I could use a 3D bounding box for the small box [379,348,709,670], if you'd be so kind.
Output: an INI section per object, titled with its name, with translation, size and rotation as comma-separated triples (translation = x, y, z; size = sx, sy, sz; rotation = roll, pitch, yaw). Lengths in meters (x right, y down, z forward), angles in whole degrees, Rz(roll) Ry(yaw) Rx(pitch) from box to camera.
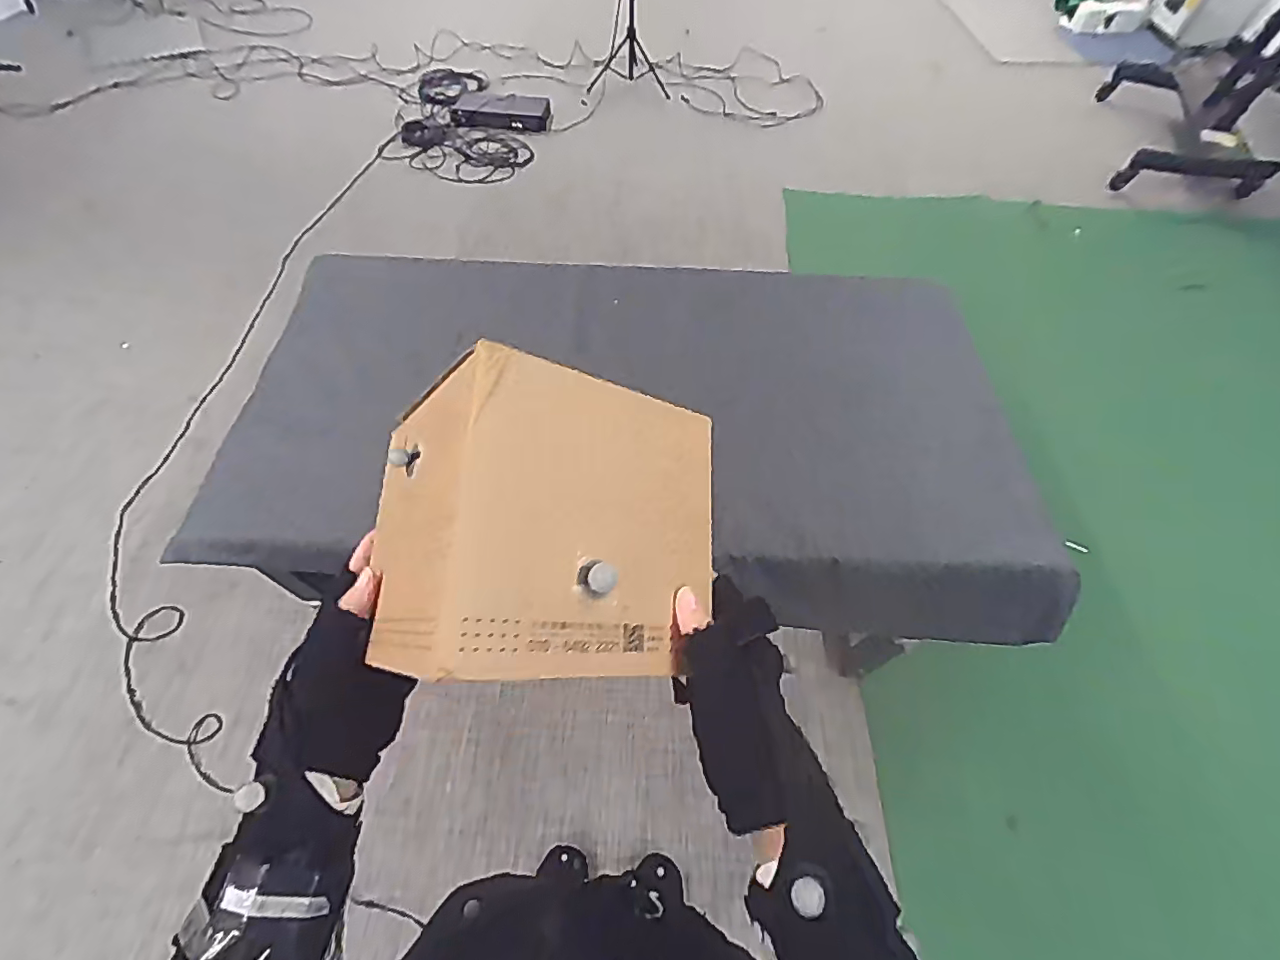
[small box]
translation = -0.069, 0.039, 0.380
size = 0.168, 0.179, 0.176
rotation = 13, 71, -36
